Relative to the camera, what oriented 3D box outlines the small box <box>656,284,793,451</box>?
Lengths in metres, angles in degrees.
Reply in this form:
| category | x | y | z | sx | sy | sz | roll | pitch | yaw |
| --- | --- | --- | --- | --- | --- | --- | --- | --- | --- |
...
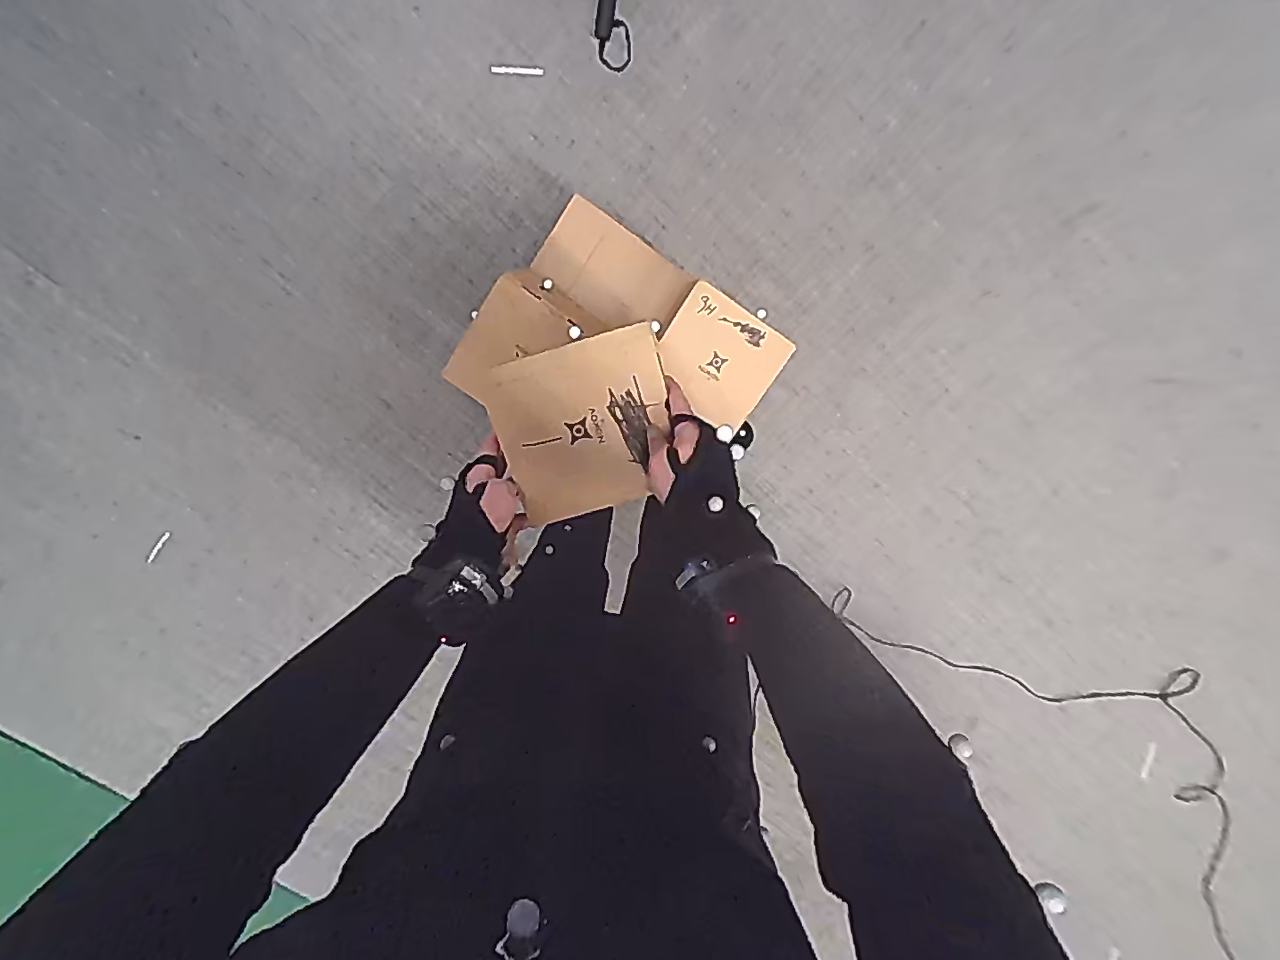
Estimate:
| category | x | y | z | sx | sy | sz | roll | pitch | yaw |
| --- | --- | --- | --- | --- | --- | --- | --- | --- | --- |
| small box | 0.102 | -0.176 | 0.827 | 0.168 | 0.176 | 0.179 | 31 | 107 | -9 |

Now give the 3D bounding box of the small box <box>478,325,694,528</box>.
| category | x | y | z | sx | sy | sz | roll | pitch | yaw |
| --- | --- | --- | --- | --- | --- | --- | --- | --- | --- |
| small box | -0.051 | -0.071 | 0.603 | 0.179 | 0.176 | 0.168 | -16 | 106 | 5 |

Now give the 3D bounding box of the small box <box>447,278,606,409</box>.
| category | x | y | z | sx | sy | sz | roll | pitch | yaw |
| --- | --- | --- | --- | --- | --- | --- | --- | --- | --- |
| small box | -0.157 | -0.190 | 0.830 | 0.168 | 0.176 | 0.179 | 35 | 111 | -9 |
